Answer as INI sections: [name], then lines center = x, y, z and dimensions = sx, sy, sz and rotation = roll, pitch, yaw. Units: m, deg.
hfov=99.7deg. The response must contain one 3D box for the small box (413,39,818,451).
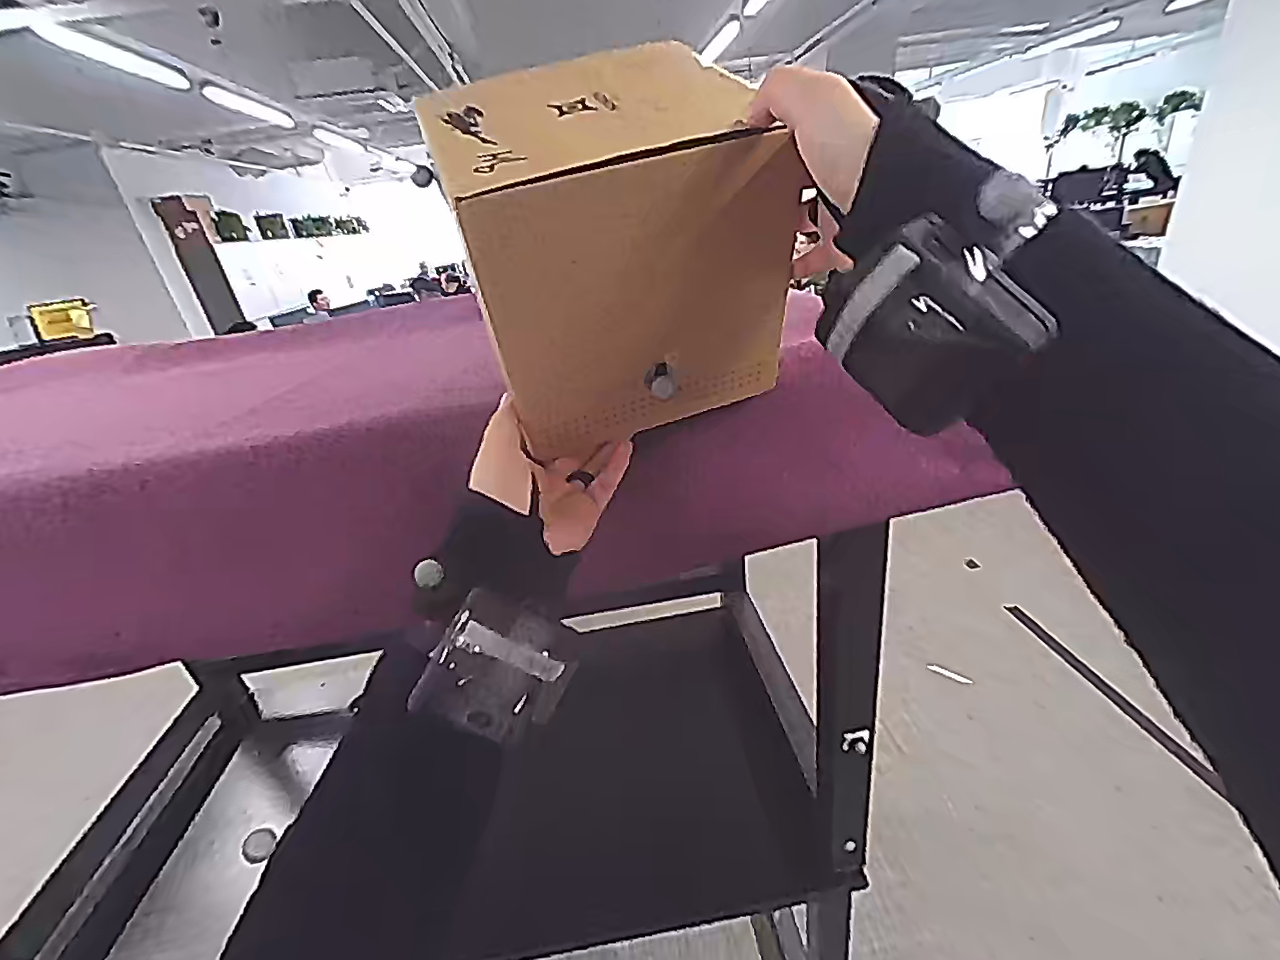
[small box]
center = -0.020, -0.147, 0.344
dimensions = 0.179, 0.176, 0.168
rotation = -18, 51, -11
